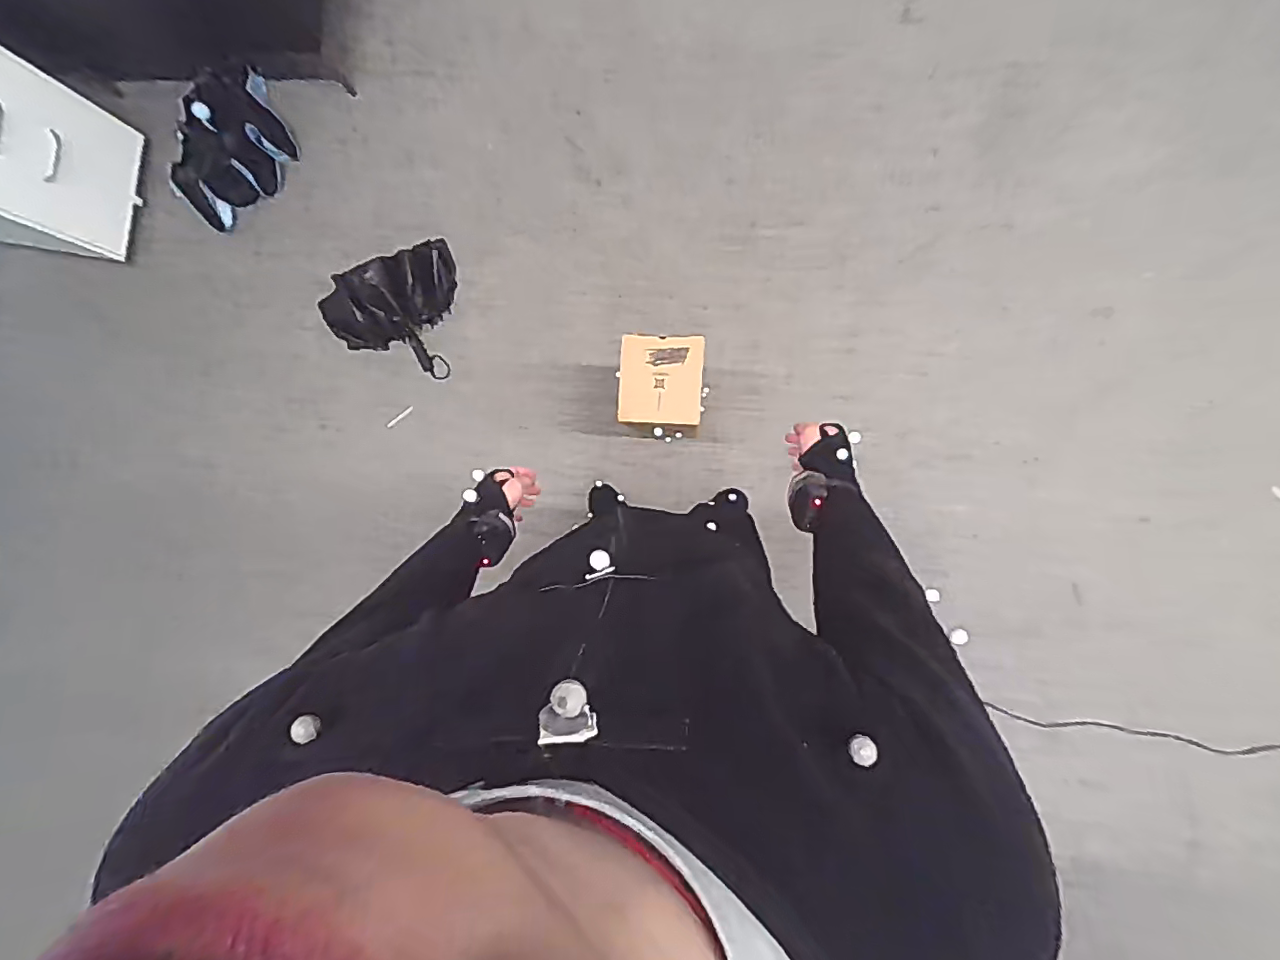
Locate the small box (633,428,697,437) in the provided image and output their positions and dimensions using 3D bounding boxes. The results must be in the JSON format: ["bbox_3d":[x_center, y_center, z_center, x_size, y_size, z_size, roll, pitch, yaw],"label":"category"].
[{"bbox_3d":[0.074,-0.208,1.456,0.168,0.176,0.179,2,92,5],"label":"small box"}]

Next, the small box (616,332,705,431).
[{"bbox_3d":[0.045,-0.200,1.131,0.168,0.176,0.179,4,92,5],"label":"small box"}]
